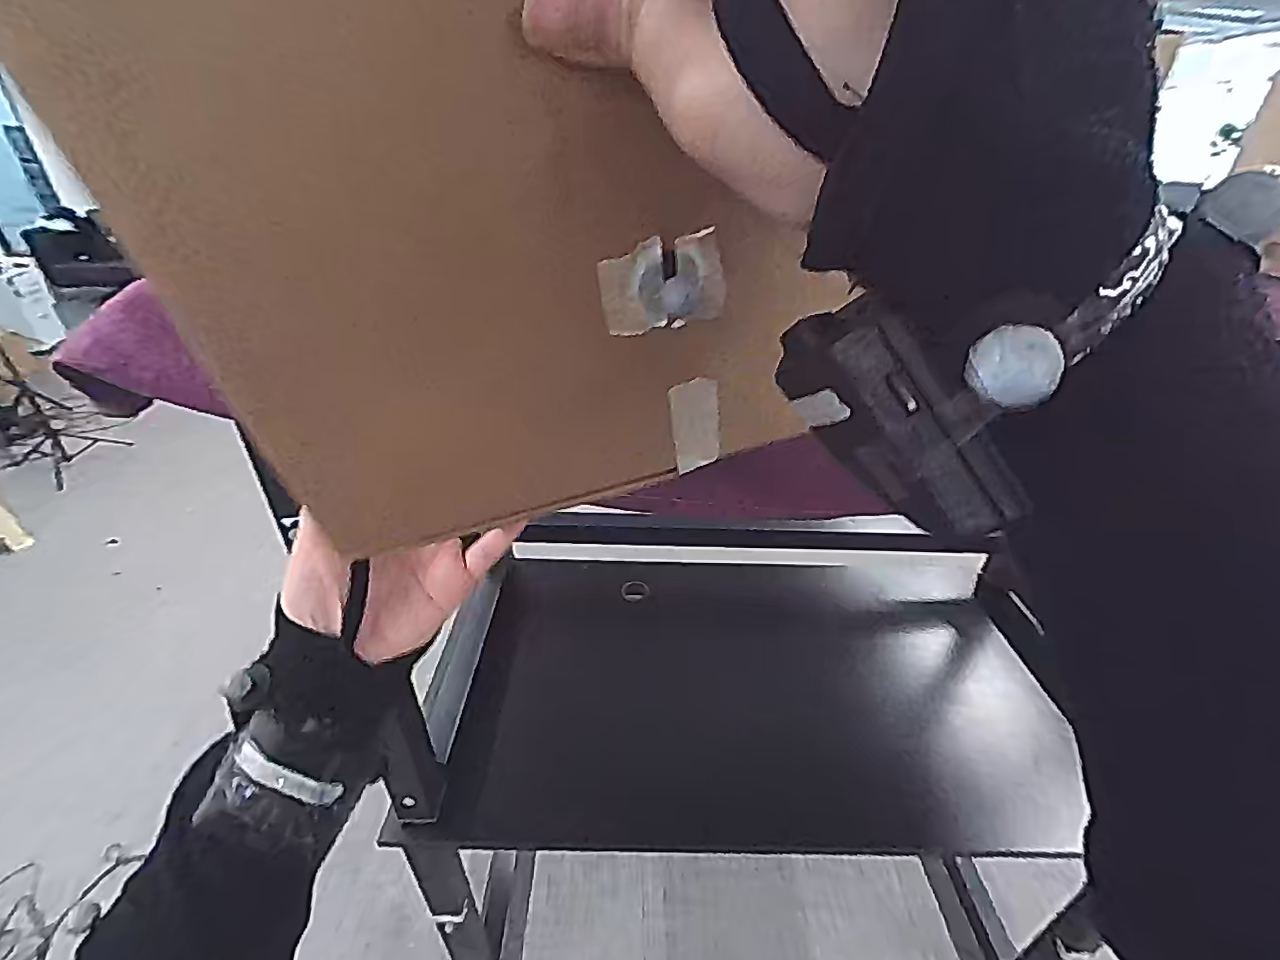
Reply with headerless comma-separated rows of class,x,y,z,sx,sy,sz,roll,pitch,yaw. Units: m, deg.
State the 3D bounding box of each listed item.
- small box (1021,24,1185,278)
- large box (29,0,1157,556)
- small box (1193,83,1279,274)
small box,0.285,-0.279,0.475,0.179,0.176,0.168,1,31,0
large box,-0.042,-0.239,0.268,0.320,0.320,0.408,-15,47,-15
small box,0.668,-0.269,0.470,0.179,0.176,0.168,6,31,8
